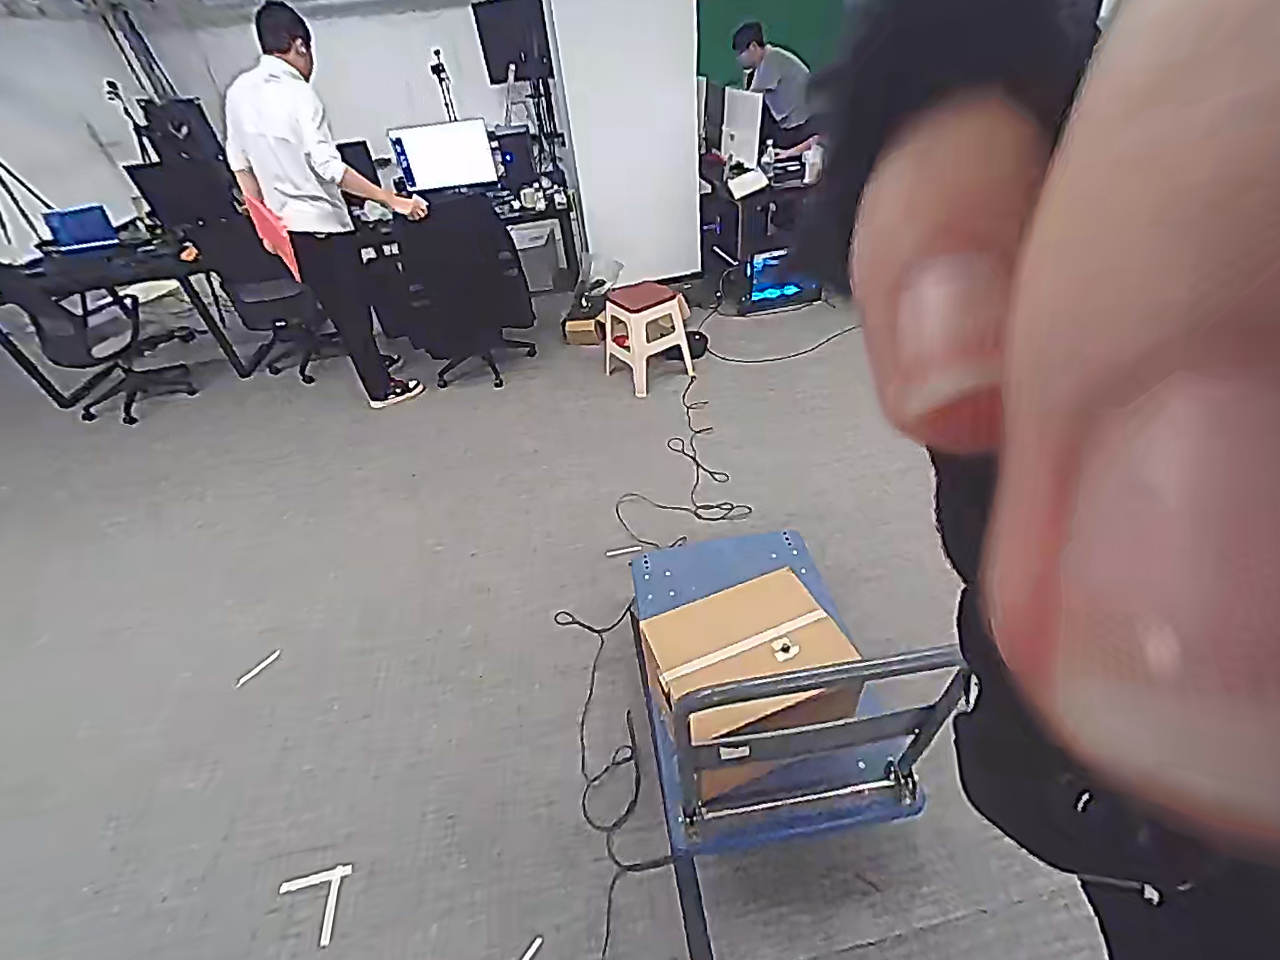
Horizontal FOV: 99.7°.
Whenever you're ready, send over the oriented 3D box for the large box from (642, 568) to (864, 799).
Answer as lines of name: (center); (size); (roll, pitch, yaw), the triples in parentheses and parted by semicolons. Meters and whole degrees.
large box: (0.251, 0.480, 1.299); (0.408, 0.320, 0.320); (-17, 42, -13)
